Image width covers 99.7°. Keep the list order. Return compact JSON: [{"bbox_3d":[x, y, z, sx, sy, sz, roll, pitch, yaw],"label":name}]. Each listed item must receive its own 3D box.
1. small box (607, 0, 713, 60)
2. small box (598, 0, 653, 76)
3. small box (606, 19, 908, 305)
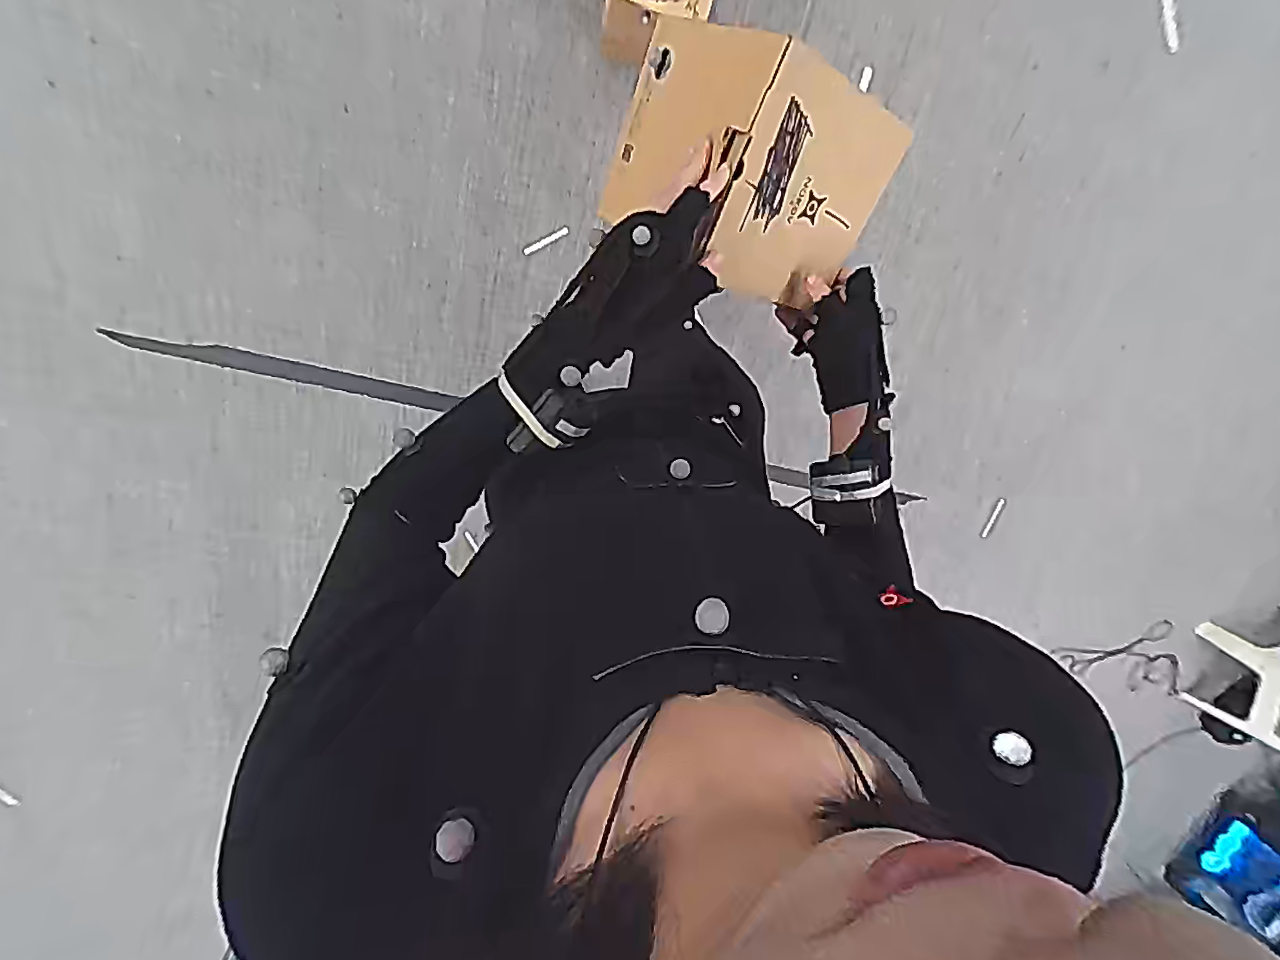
[{"bbox_3d":[0.043,-0.881,0.955,0.168,0.176,0.179,14,107,-13],"label":"small box"},{"bbox_3d":[0.017,-0.953,1.101,0.179,0.176,0.168,8,109,-10],"label":"small box"},{"bbox_3d":[0.094,-0.286,0.498,0.179,0.176,0.168,-1,128,-39],"label":"small box"}]
